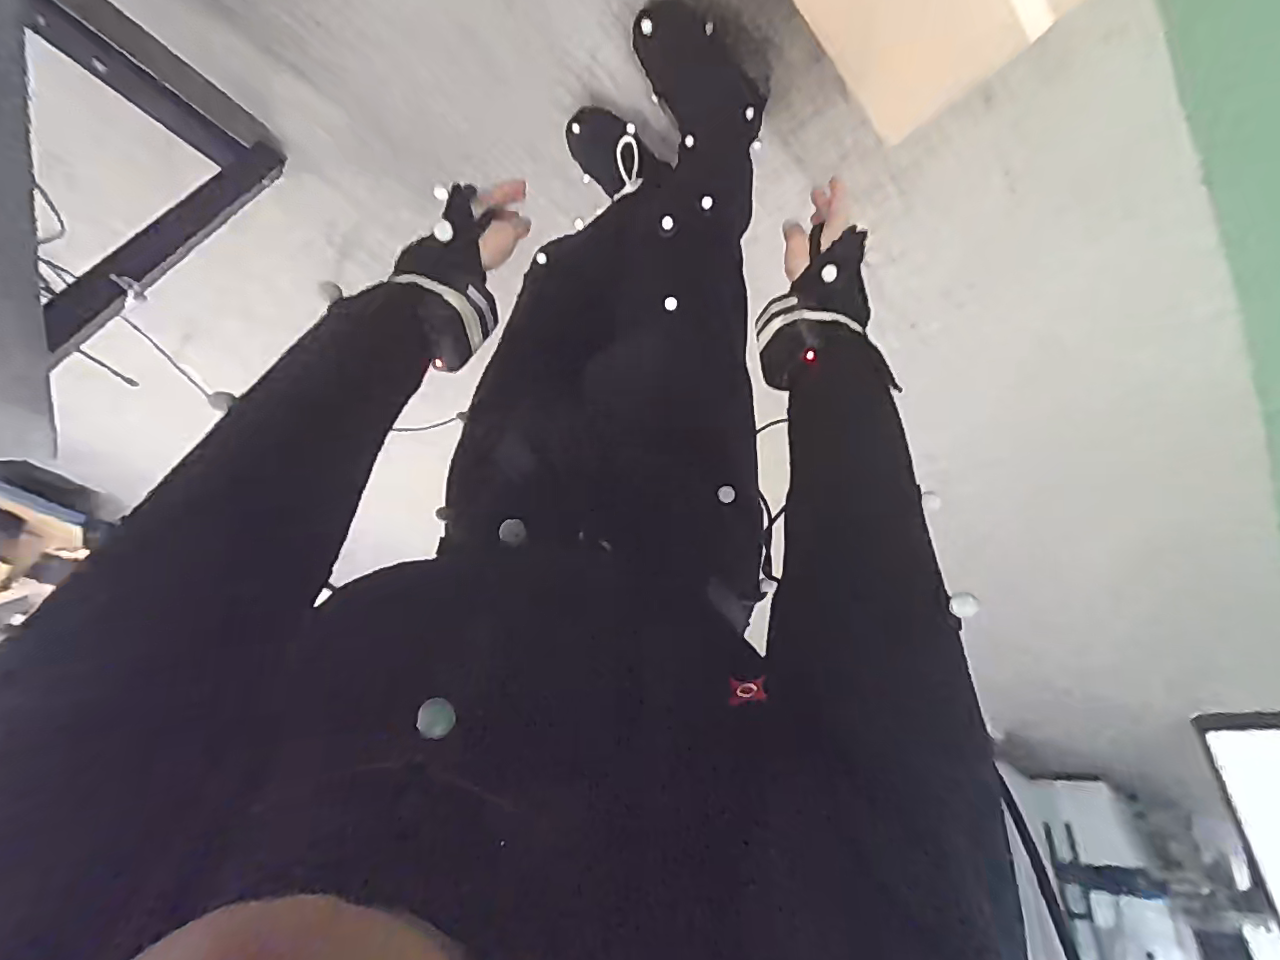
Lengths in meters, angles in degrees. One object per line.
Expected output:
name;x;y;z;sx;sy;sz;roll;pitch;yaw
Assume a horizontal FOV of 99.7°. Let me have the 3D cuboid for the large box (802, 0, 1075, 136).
large box;0.278;-0.669;0.531;0.408;0.320;0.320;34;138;-28
